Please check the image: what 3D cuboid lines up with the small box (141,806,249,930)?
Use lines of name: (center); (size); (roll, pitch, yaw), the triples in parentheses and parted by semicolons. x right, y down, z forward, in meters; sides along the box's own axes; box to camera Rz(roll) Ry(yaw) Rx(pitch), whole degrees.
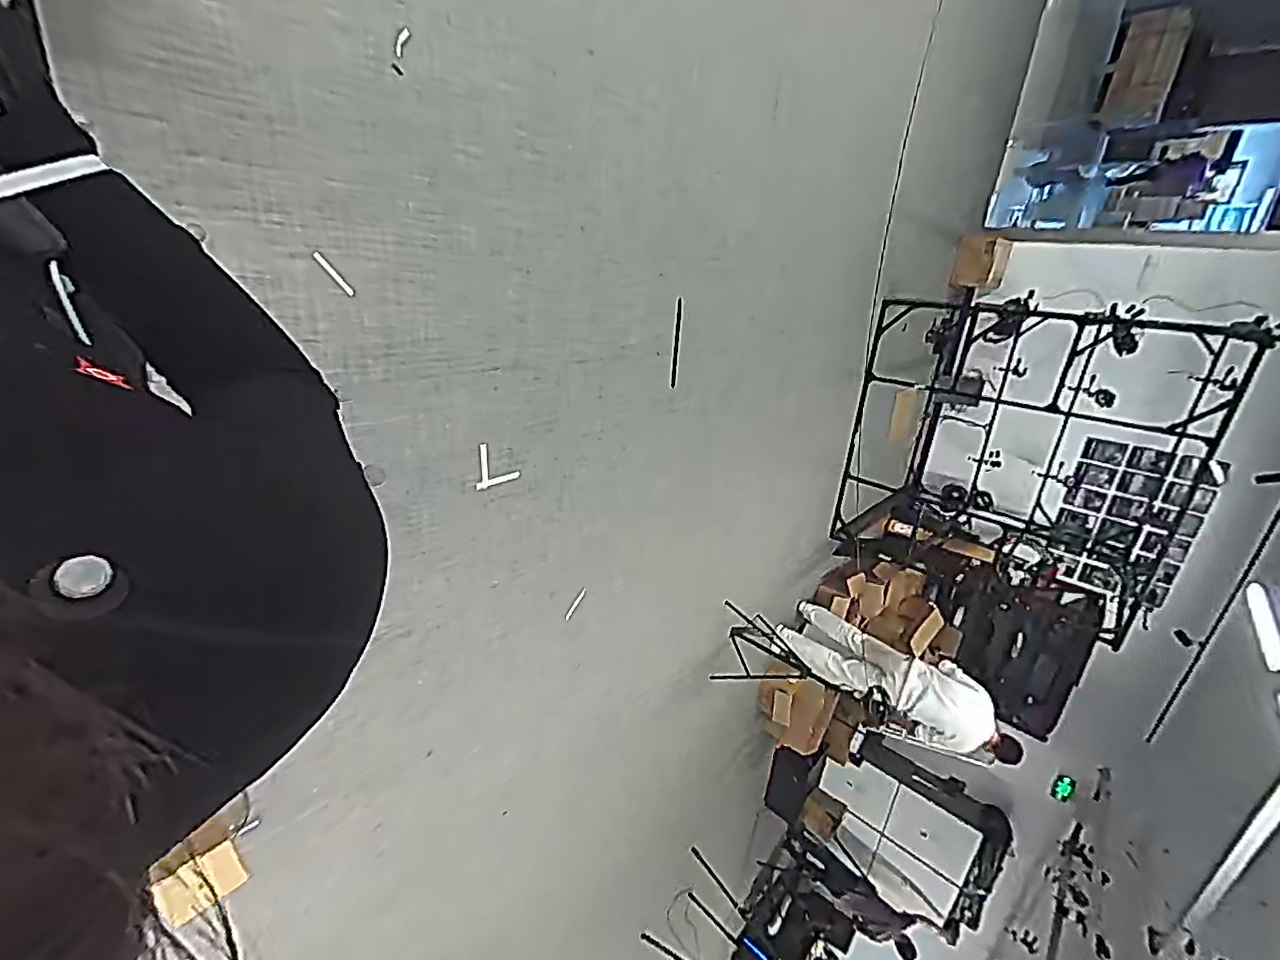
small box: (-1.166, 1.001, 1.416); (0.168, 0.176, 0.179); (-24, 125, -42)
